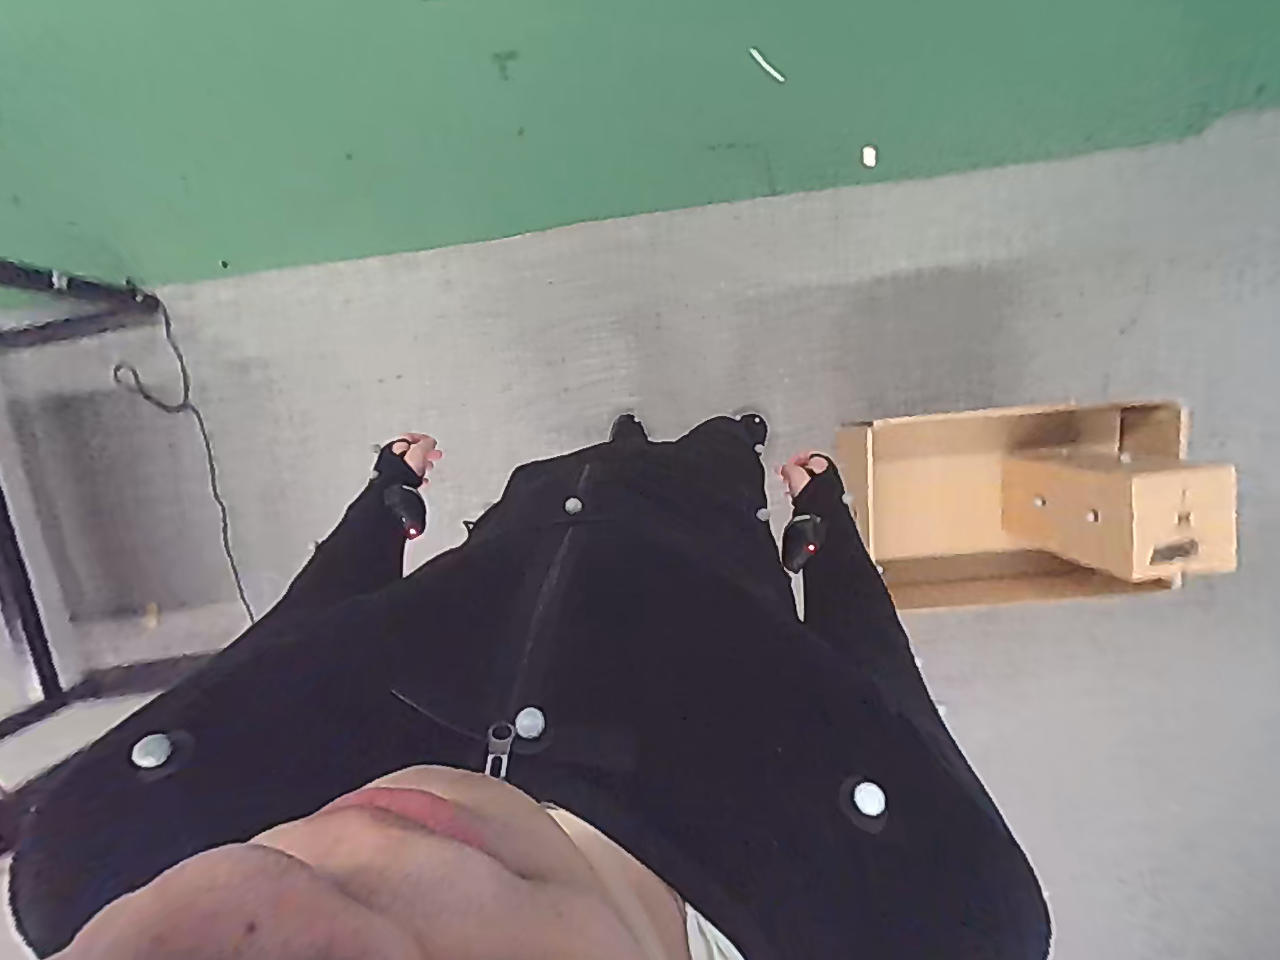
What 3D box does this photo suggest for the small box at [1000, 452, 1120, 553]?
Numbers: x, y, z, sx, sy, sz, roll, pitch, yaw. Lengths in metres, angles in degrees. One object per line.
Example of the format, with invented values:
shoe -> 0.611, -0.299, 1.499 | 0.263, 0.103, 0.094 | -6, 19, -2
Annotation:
small box -> 0.881, 0.041, 1.122 | 0.168, 0.176, 0.179 | -4, 98, 1

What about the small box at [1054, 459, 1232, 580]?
small box -> 0.876, 0.063, 0.959 | 0.168, 0.176, 0.179 | -6, 97, 2
